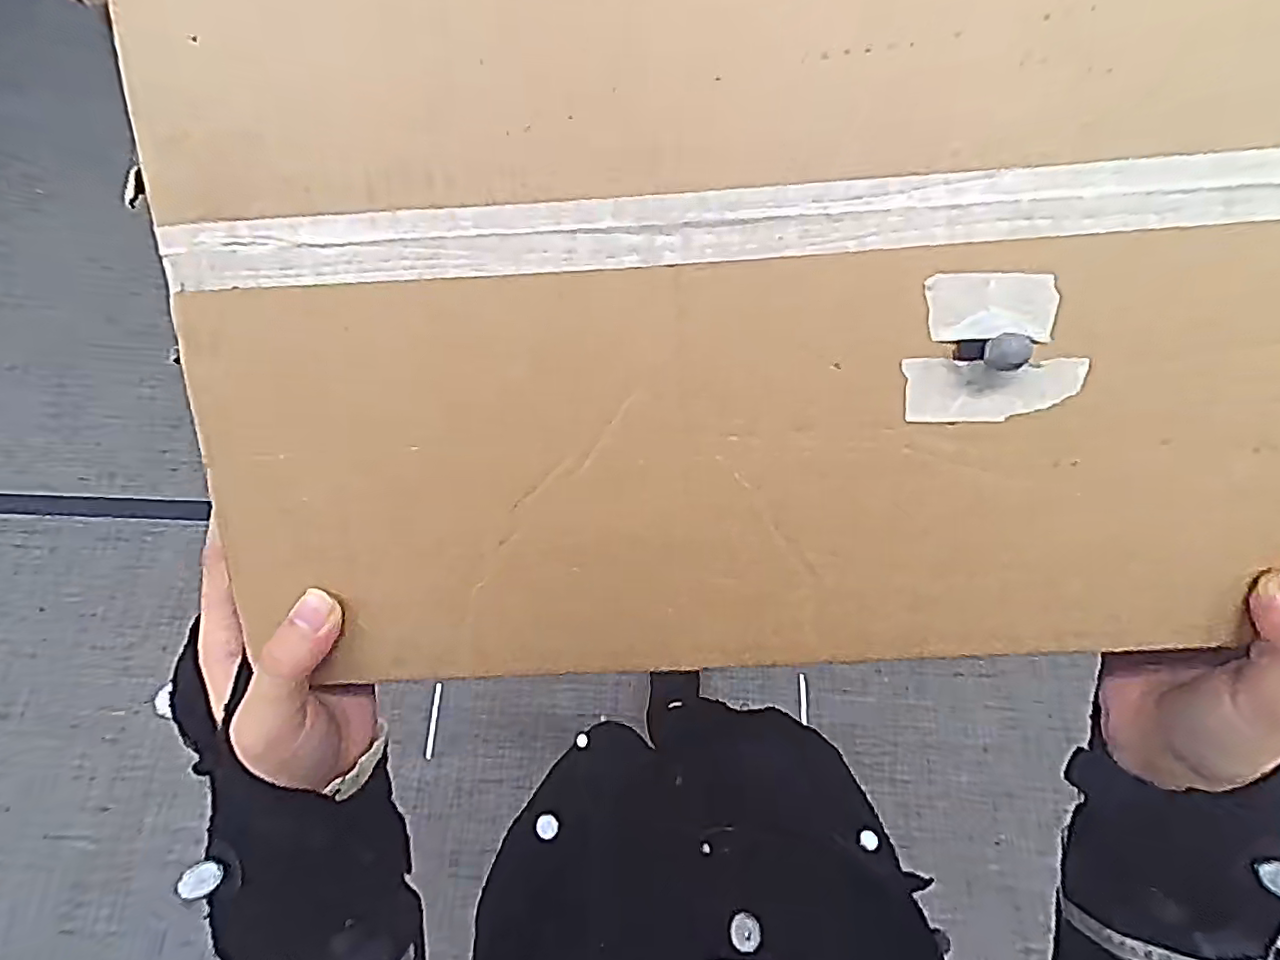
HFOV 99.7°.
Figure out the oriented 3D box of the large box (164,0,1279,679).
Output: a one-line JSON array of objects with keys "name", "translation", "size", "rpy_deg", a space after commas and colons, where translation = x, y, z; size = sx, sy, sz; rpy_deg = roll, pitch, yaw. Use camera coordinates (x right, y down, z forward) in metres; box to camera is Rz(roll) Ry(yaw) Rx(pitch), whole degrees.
[{"name": "large box", "translation": [0.046, -0.109, 0.335], "size": [0.408, 0.320, 0.320], "rpy_deg": [-4, 100, 0]}]
